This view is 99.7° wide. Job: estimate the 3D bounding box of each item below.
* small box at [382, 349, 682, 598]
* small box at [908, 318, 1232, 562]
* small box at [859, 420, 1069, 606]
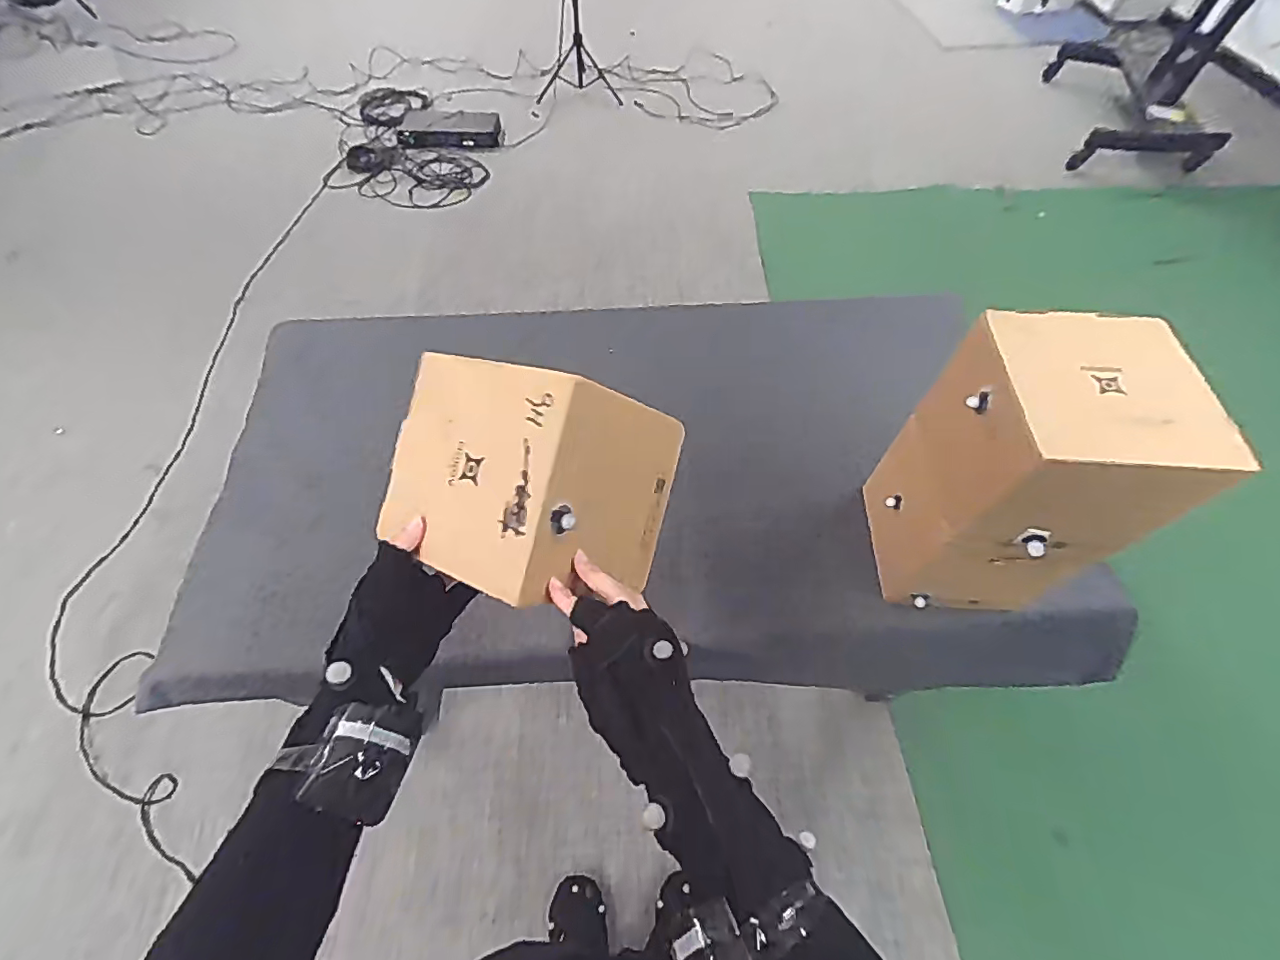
[{"bbox_3d":[-0.091,-0.005,0.484,0.179,0.176,0.168,16,93,34],"label":"small box"},{"bbox_3d":[0.395,-0.036,0.543,0.168,0.176,0.179,3,59,3],"label":"small box"},{"bbox_3d":[0.395,0.047,0.681,0.168,0.176,0.179,3,57,1],"label":"small box"}]
